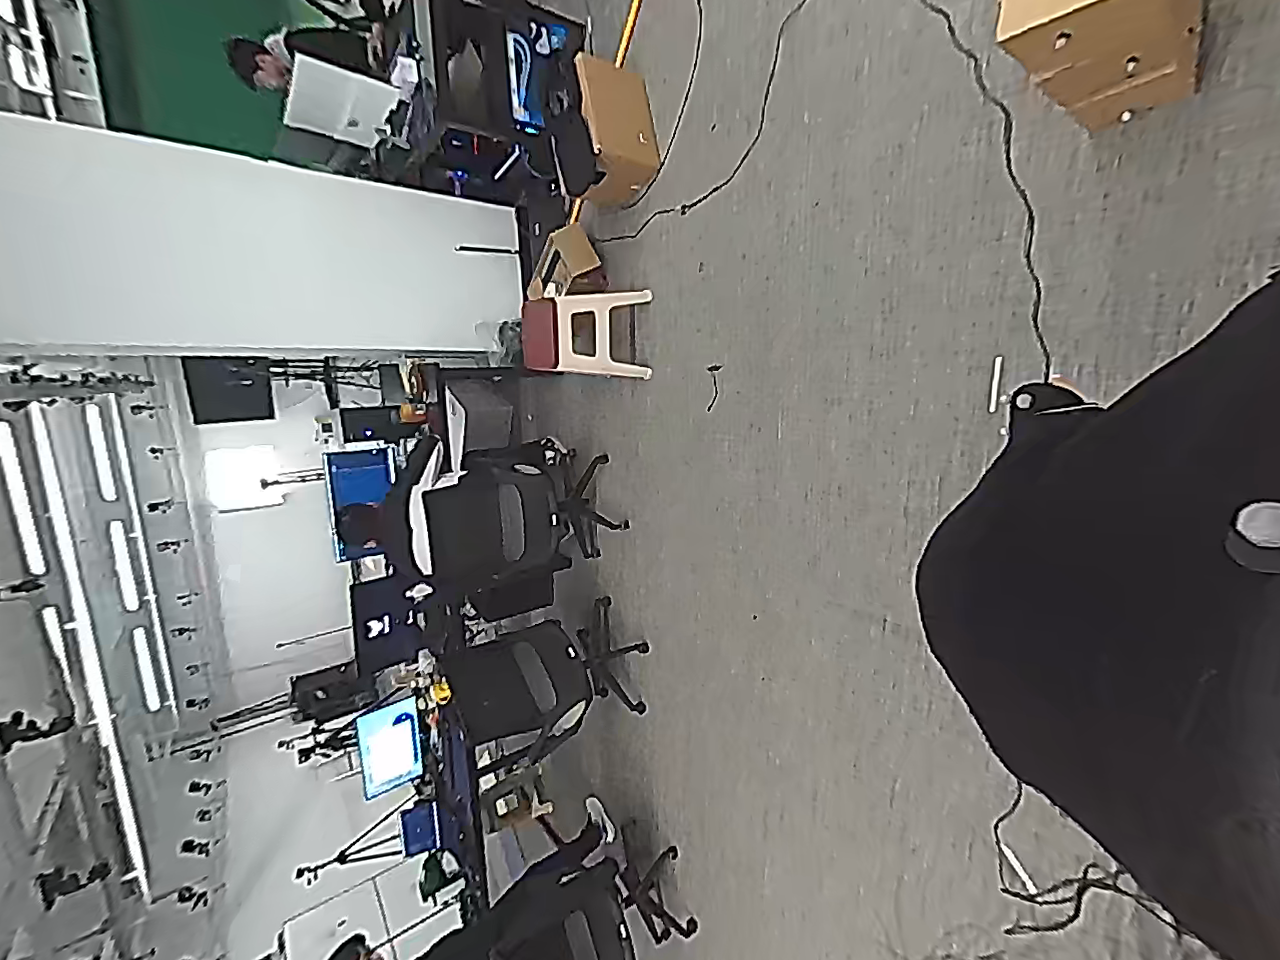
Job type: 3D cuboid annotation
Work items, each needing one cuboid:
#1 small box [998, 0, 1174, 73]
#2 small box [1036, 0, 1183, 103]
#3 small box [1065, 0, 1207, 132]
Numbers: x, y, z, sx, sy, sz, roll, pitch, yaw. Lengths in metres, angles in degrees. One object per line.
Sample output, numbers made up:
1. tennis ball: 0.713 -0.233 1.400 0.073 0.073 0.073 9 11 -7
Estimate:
1. small box: 0.690 -0.770 0.830 0.179 0.176 0.168 15 109 52
2. small box: 0.813 -0.794 0.937 0.168 0.176 0.179 3 98 53
3. small box: 0.944 -0.807 1.031 0.168 0.176 0.179 9 105 53
